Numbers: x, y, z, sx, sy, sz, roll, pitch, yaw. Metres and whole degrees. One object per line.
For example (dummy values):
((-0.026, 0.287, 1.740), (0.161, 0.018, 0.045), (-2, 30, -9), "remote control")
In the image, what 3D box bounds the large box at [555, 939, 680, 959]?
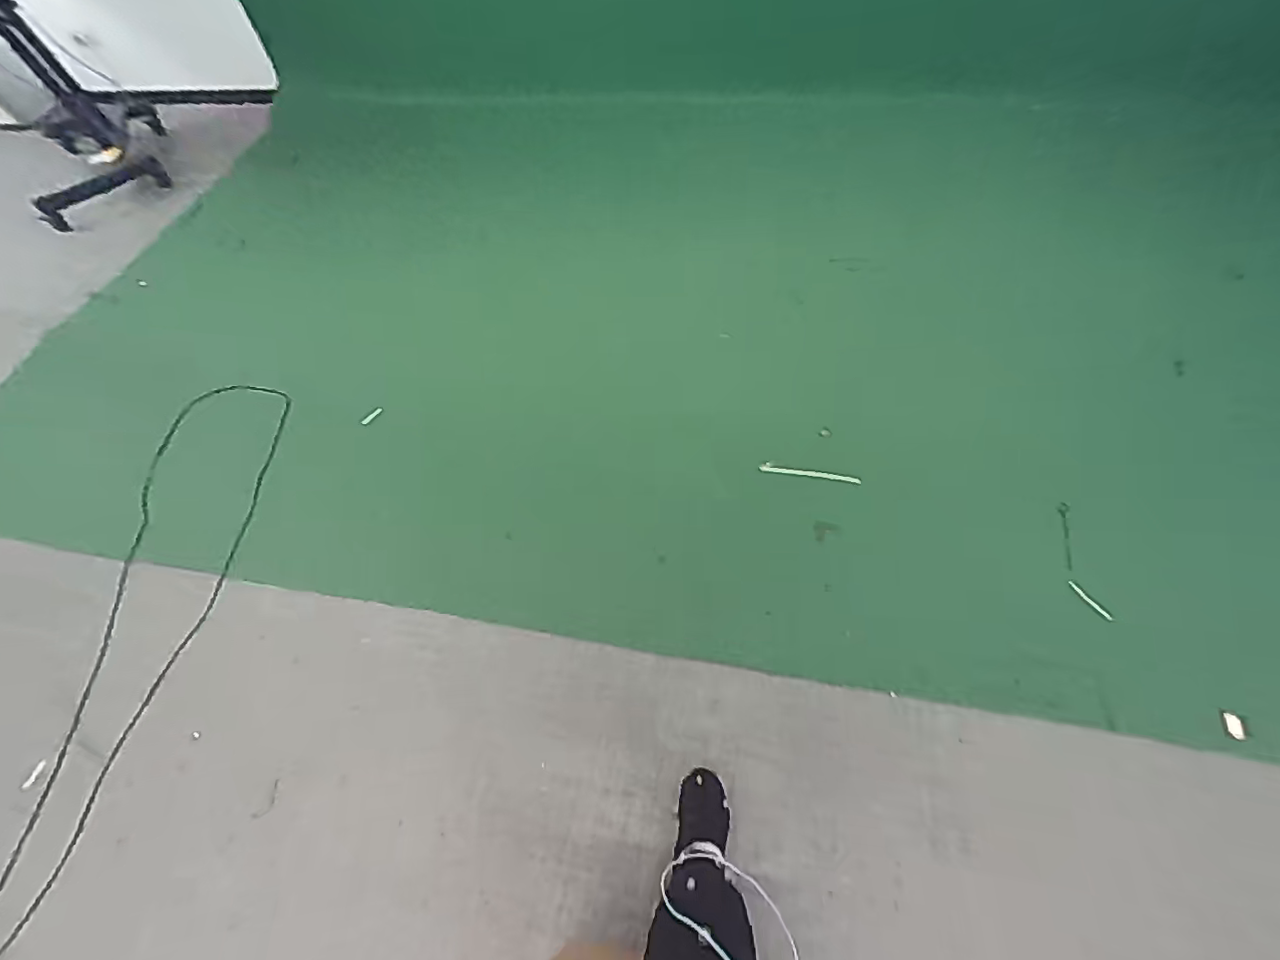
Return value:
((0.018, 1.088, 0.980), (0.408, 0.320, 0.320), (6, 59, 8), "large box")
